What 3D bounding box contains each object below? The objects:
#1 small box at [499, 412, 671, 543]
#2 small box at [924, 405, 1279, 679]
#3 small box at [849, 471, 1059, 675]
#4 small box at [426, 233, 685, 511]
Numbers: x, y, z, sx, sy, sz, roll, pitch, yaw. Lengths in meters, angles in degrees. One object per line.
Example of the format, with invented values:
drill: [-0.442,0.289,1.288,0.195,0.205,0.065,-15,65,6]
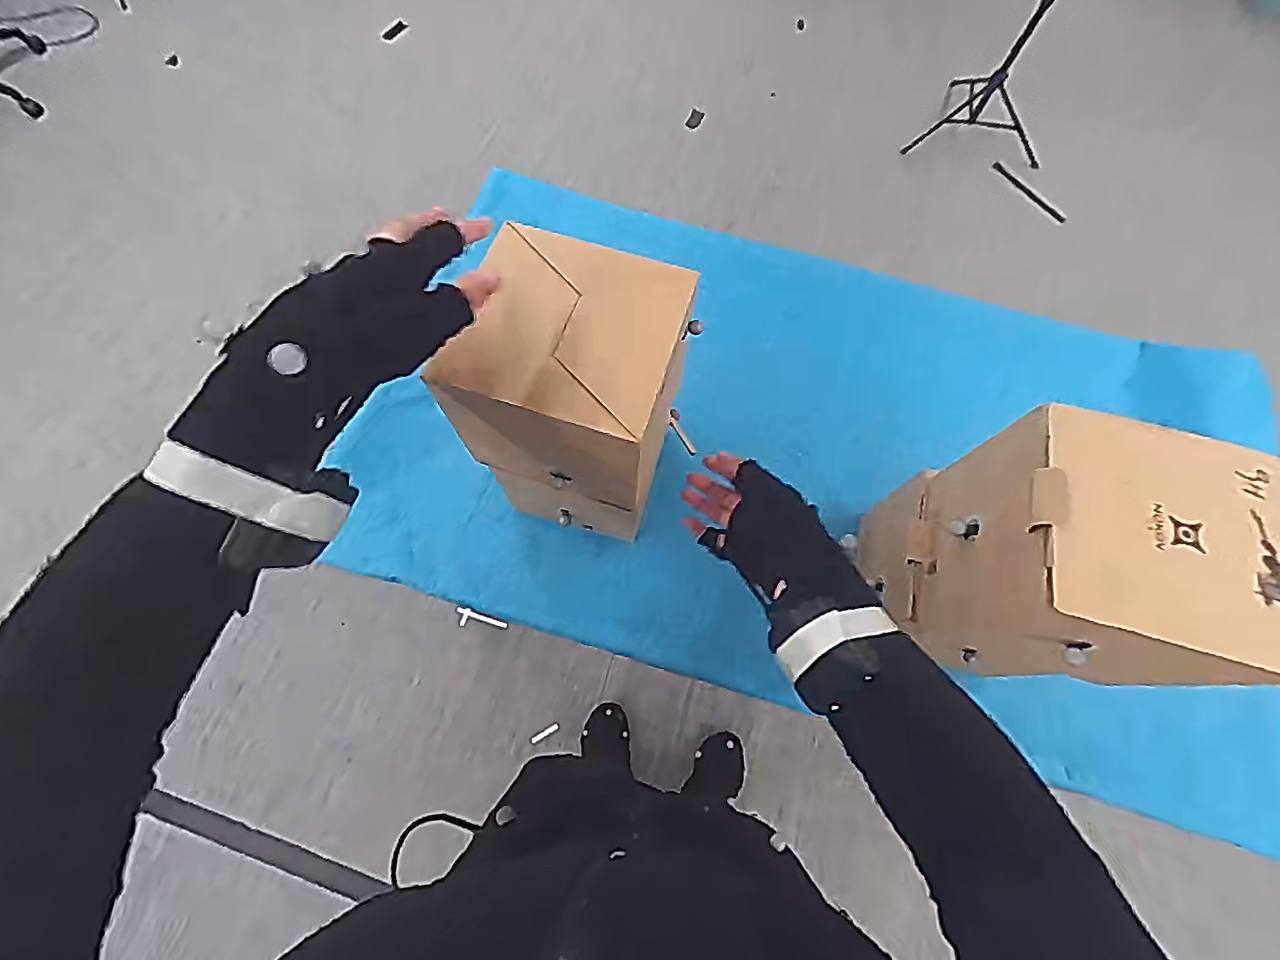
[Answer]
small box: [-0.064,-0.043,0.660,0.168,0.176,0.179,18,72,7]
small box: [0.362,0.064,0.450,0.179,0.176,0.168,13,69,3]
small box: [0.355,0.114,0.604,0.179,0.176,0.168,16,70,5]
small box: [-0.062,-0.091,0.499,0.179,0.176,0.168,17,70,5]
